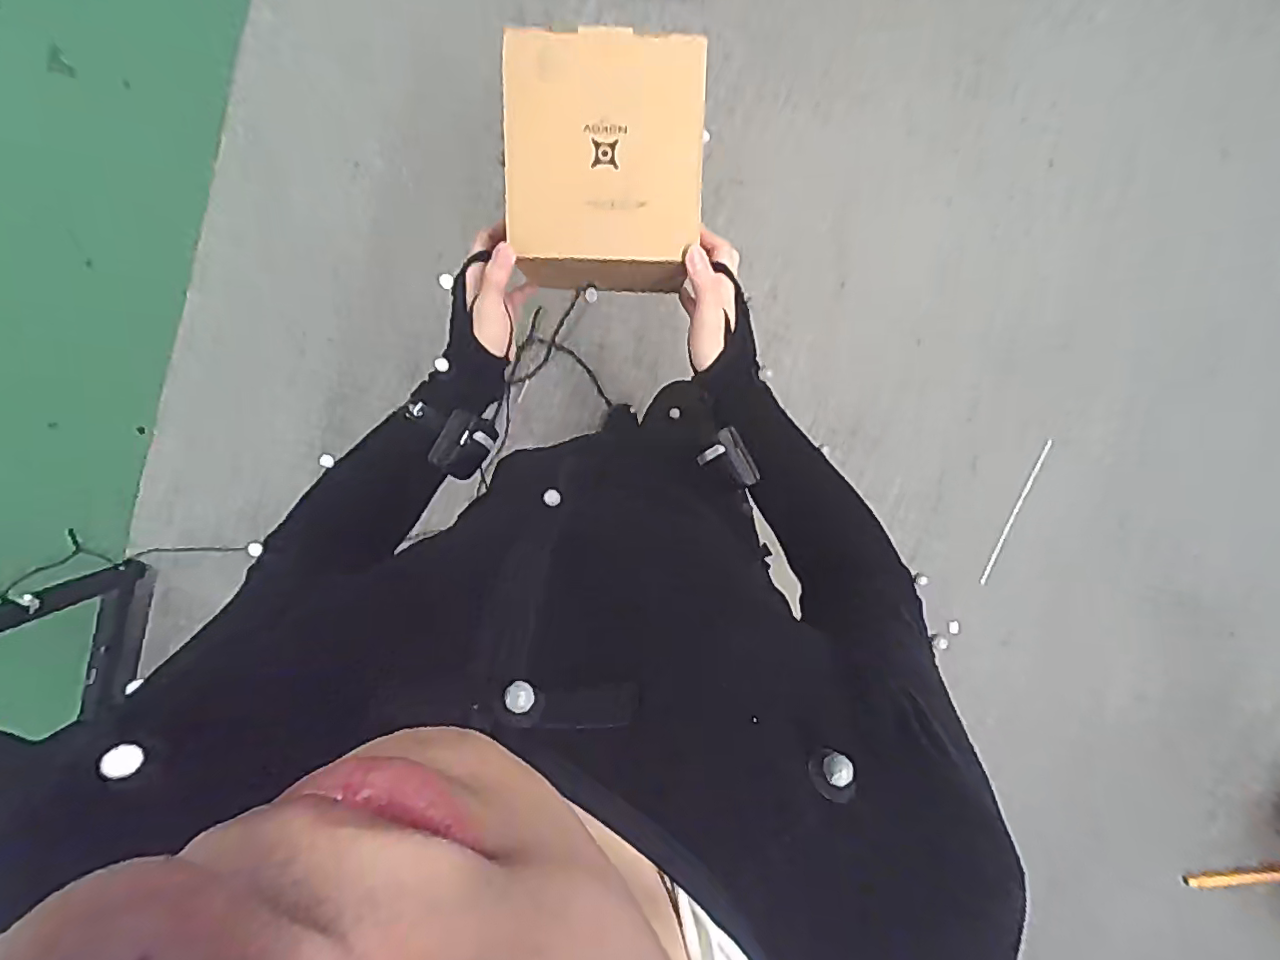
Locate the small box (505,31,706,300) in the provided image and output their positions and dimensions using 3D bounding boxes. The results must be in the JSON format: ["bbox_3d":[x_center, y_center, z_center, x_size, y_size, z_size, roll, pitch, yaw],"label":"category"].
[{"bbox_3d":[-0.033,-0.284,0.527,0.168,0.176,0.179,1,99,-2],"label":"small box"}]
